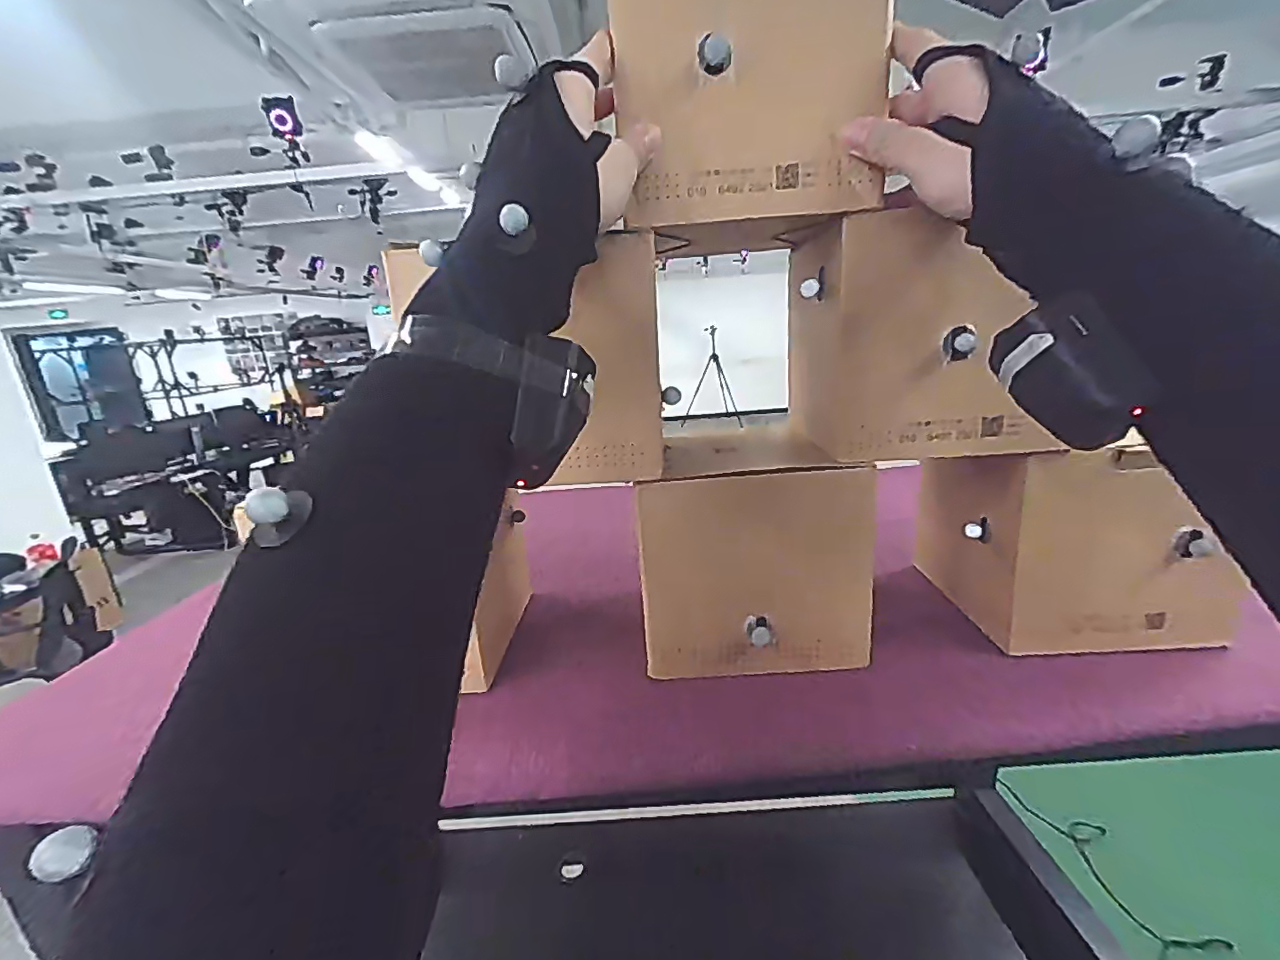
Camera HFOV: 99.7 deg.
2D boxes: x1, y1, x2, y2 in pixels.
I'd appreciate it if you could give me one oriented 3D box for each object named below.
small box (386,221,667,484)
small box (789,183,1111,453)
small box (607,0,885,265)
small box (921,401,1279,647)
[{"bbox_3d":[-0.070,-0.097,0.437,0.179,0.176,0.168,-3,16,2],"label":"small box"},{"bbox_3d":[0.222,-0.118,0.437,0.168,0.176,0.179,-3,15,5],"label":"small box"},{"bbox_3d":[0.068,-0.264,0.397,0.168,0.176,0.179,-4,15,2],"label":"small box"},{"bbox_3d":[0.366,0.032,0.472,0.168,0.176,0.179,-3,14,5],"label":"small box"}]
